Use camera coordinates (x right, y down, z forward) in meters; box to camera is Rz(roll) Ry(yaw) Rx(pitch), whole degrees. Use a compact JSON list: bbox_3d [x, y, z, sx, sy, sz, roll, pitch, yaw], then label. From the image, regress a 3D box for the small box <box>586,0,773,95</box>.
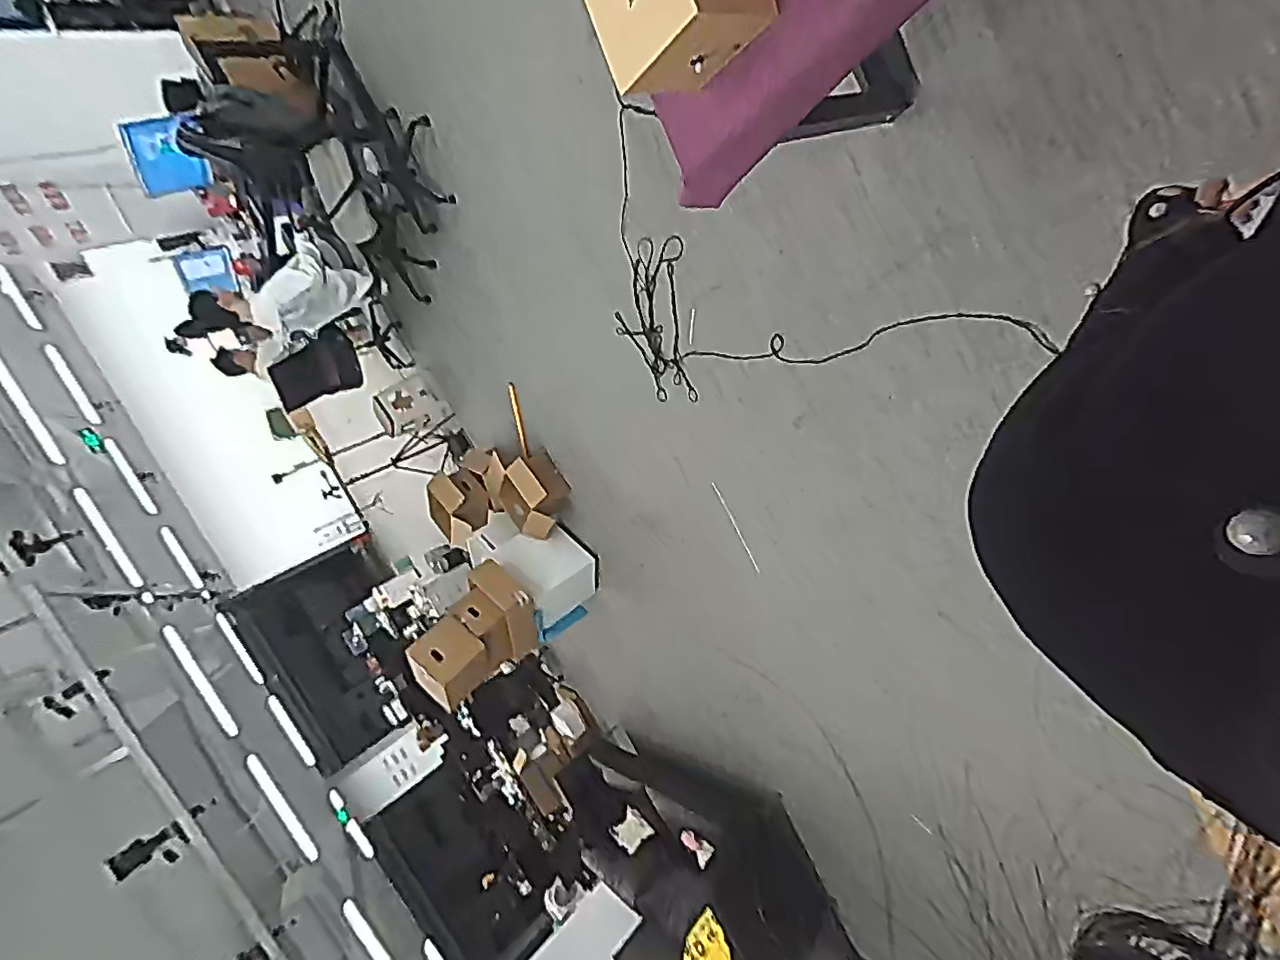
[{"bbox_3d":[0.048,-0.656,0.715,0.168,0.176,0.179,-3,114,54],"label":"small box"}]
